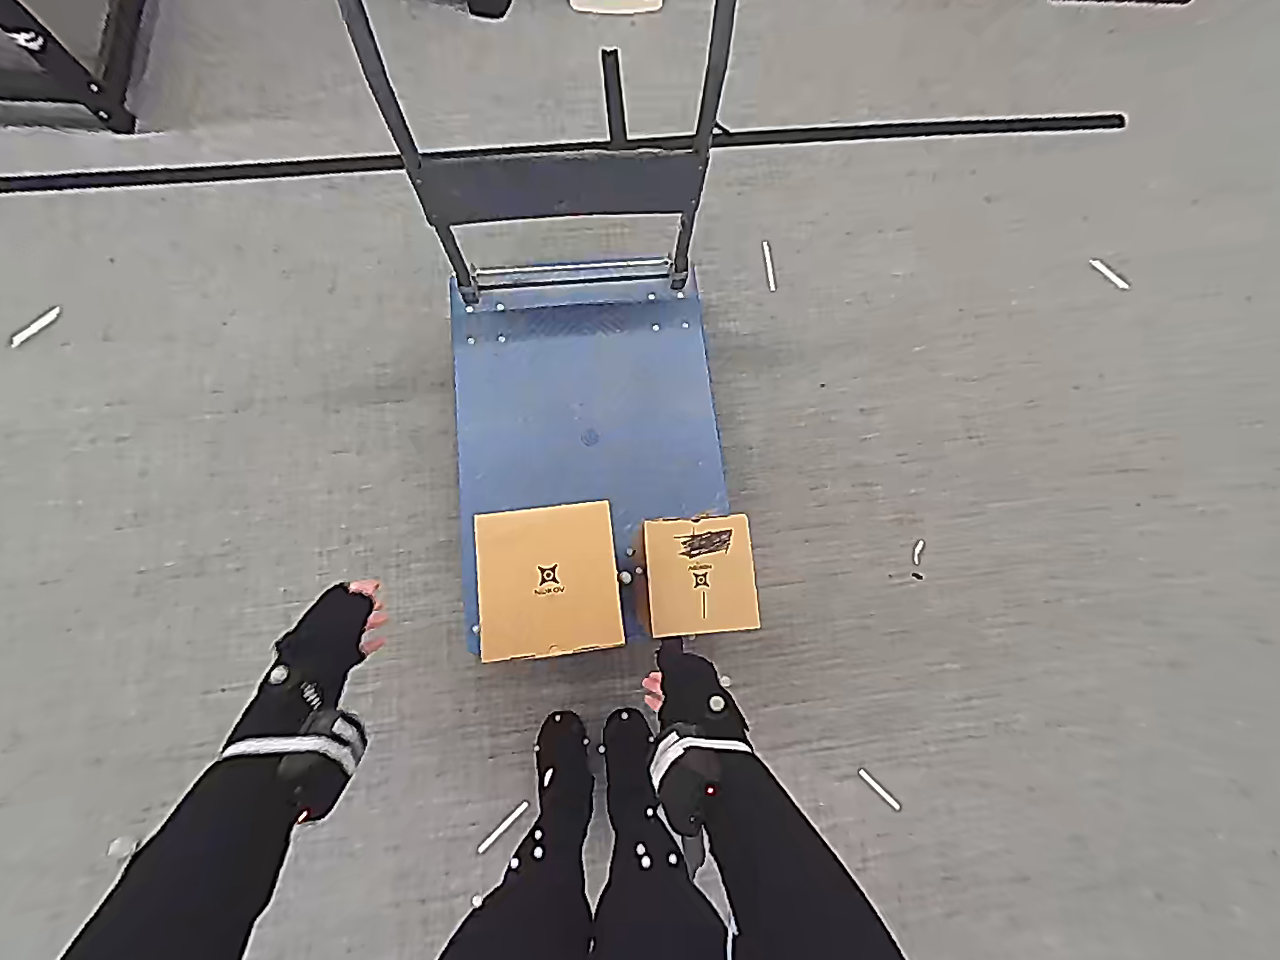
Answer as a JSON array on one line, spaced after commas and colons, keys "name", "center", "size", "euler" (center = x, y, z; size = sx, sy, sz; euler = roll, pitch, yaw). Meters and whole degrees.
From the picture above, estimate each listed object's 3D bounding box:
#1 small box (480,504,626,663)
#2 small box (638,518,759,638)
[{"name": "small box", "center": [-0.112, 0.137, 0.724], "size": [0.168, 0.176, 0.179], "euler": [-6, 79, -6]}, {"name": "small box", "center": [0.087, 0.164, 0.900], "size": [0.168, 0.176, 0.179], "euler": [-3, 79, -5]}]
